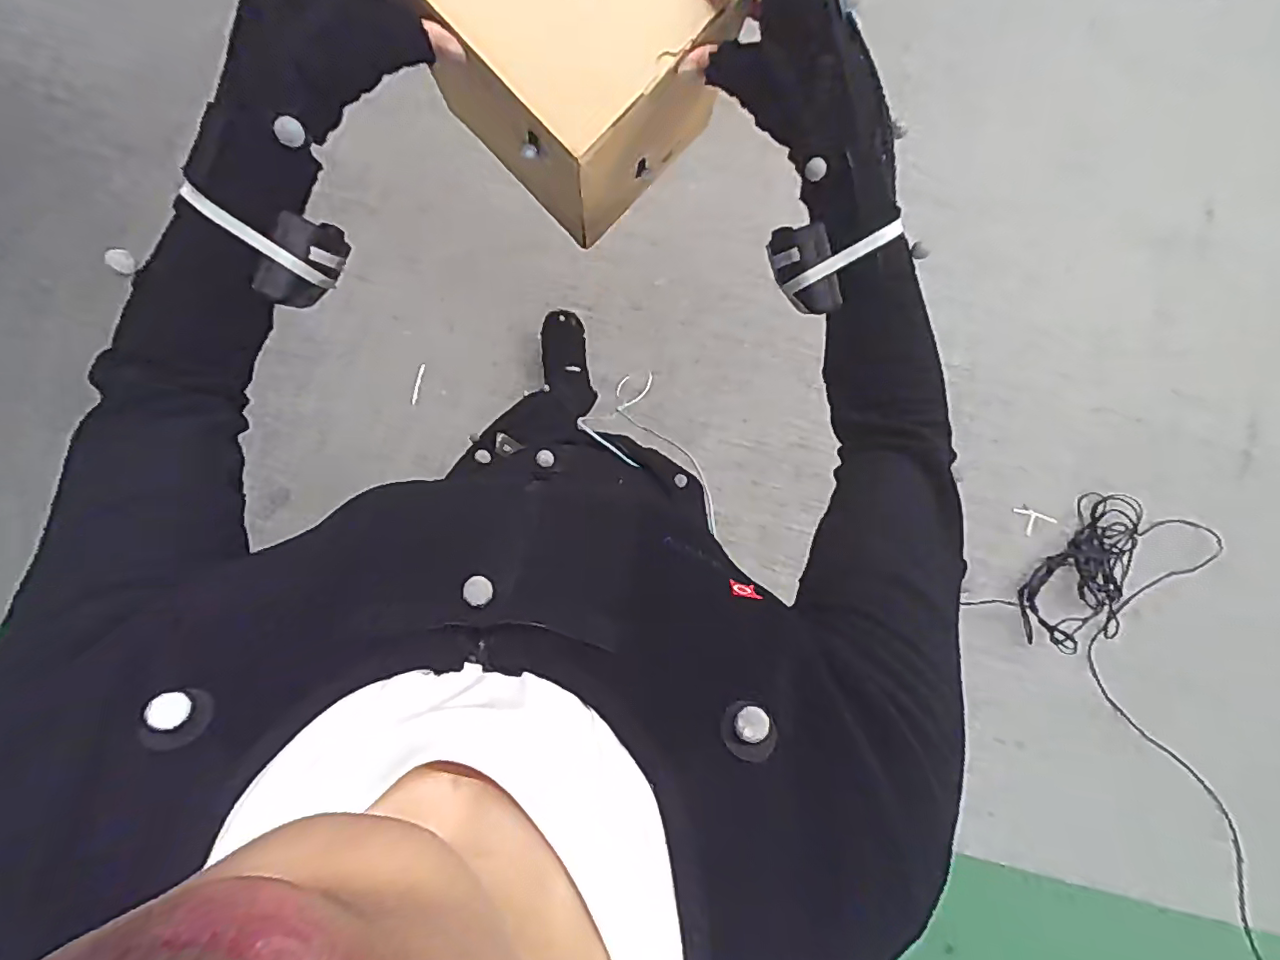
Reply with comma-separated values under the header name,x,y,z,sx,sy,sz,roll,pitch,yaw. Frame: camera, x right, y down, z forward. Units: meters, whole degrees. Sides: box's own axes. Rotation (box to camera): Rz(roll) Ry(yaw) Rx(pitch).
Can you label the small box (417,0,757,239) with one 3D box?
name,x,y,z,sx,sy,sz,roll,pitch,yaw
small box,-0.047,-0.327,0.420,0.168,0.176,0.179,-45,98,0
